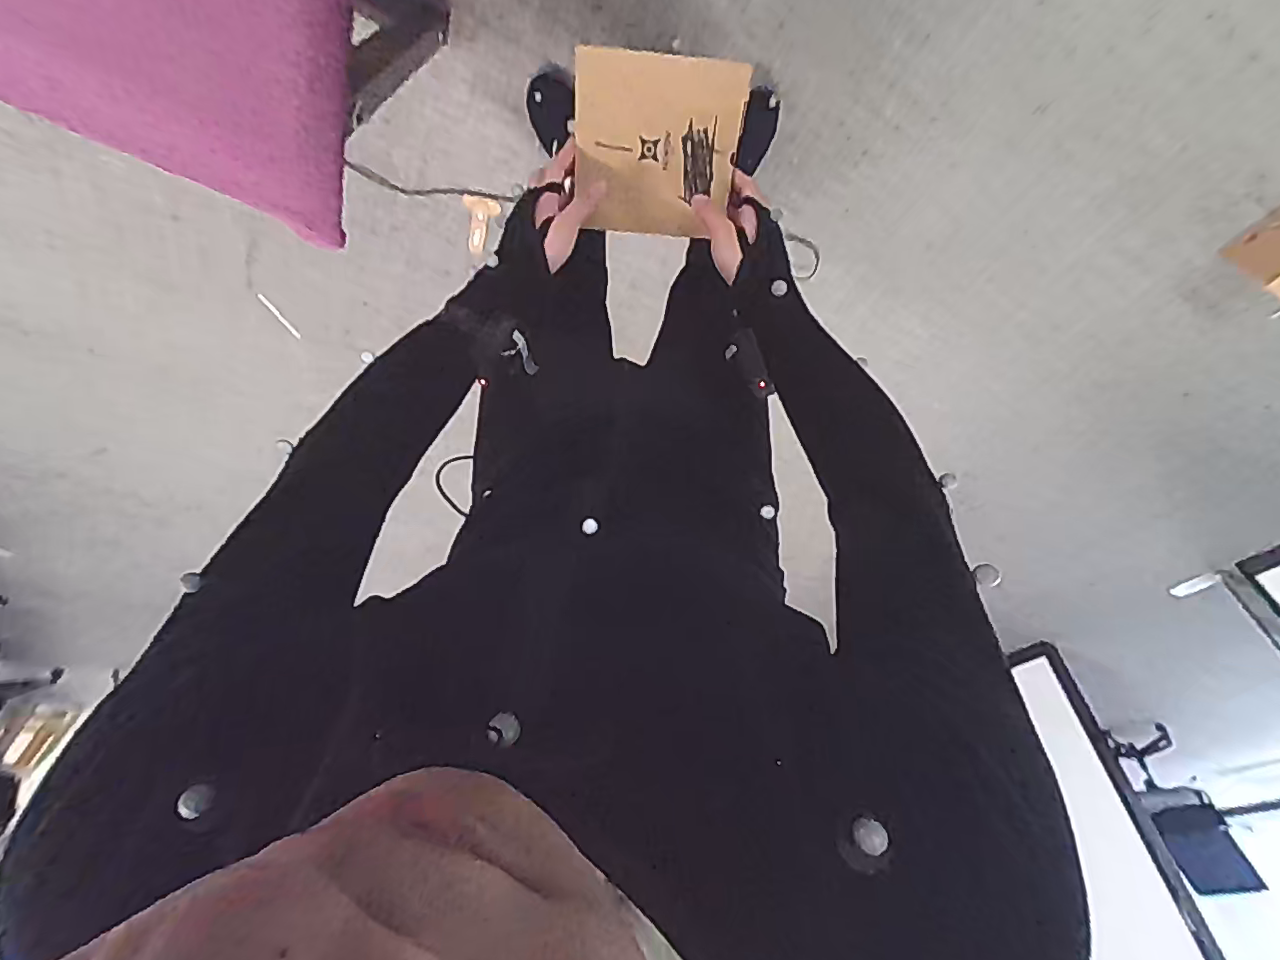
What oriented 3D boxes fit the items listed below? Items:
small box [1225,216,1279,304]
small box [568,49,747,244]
[{"bbox_3d":[1.575,-0.519,1.280,0.179,0.176,0.168,19,135,-19],"label":"small box"},{"bbox_3d":[0.010,-0.392,0.635,0.179,0.176,0.168,4,127,-4],"label":"small box"}]
